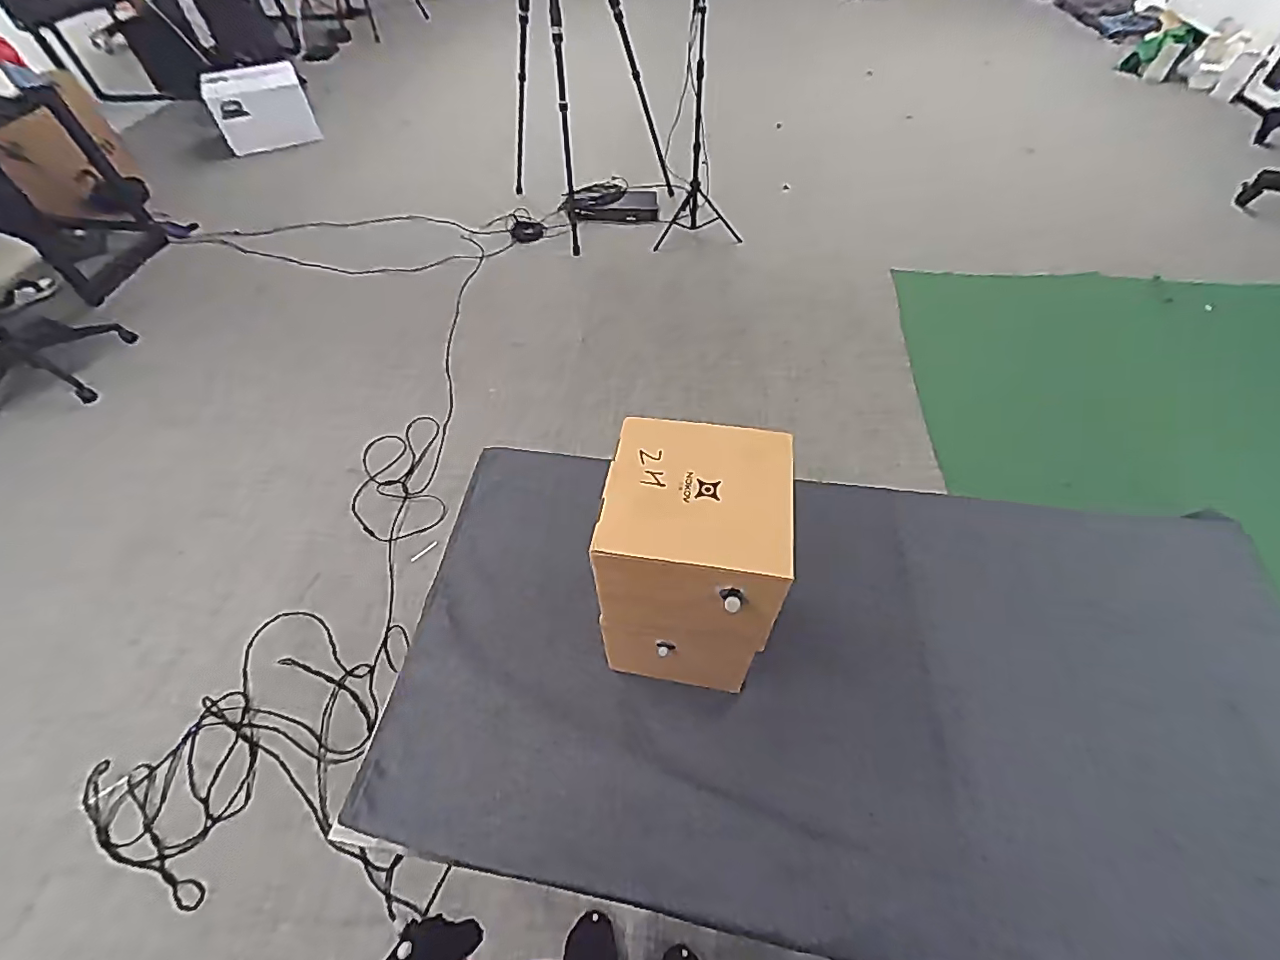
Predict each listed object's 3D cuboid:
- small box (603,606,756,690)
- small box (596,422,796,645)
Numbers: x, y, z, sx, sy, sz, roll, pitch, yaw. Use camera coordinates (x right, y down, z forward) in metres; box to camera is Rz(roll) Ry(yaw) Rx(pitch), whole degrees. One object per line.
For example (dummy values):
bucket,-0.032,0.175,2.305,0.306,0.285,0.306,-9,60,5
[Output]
small box,0.058,0.159,0.712,0.179,0.176,0.168,9,52,7
small box,0.060,0.062,0.578,0.179,0.176,0.168,7,52,7
